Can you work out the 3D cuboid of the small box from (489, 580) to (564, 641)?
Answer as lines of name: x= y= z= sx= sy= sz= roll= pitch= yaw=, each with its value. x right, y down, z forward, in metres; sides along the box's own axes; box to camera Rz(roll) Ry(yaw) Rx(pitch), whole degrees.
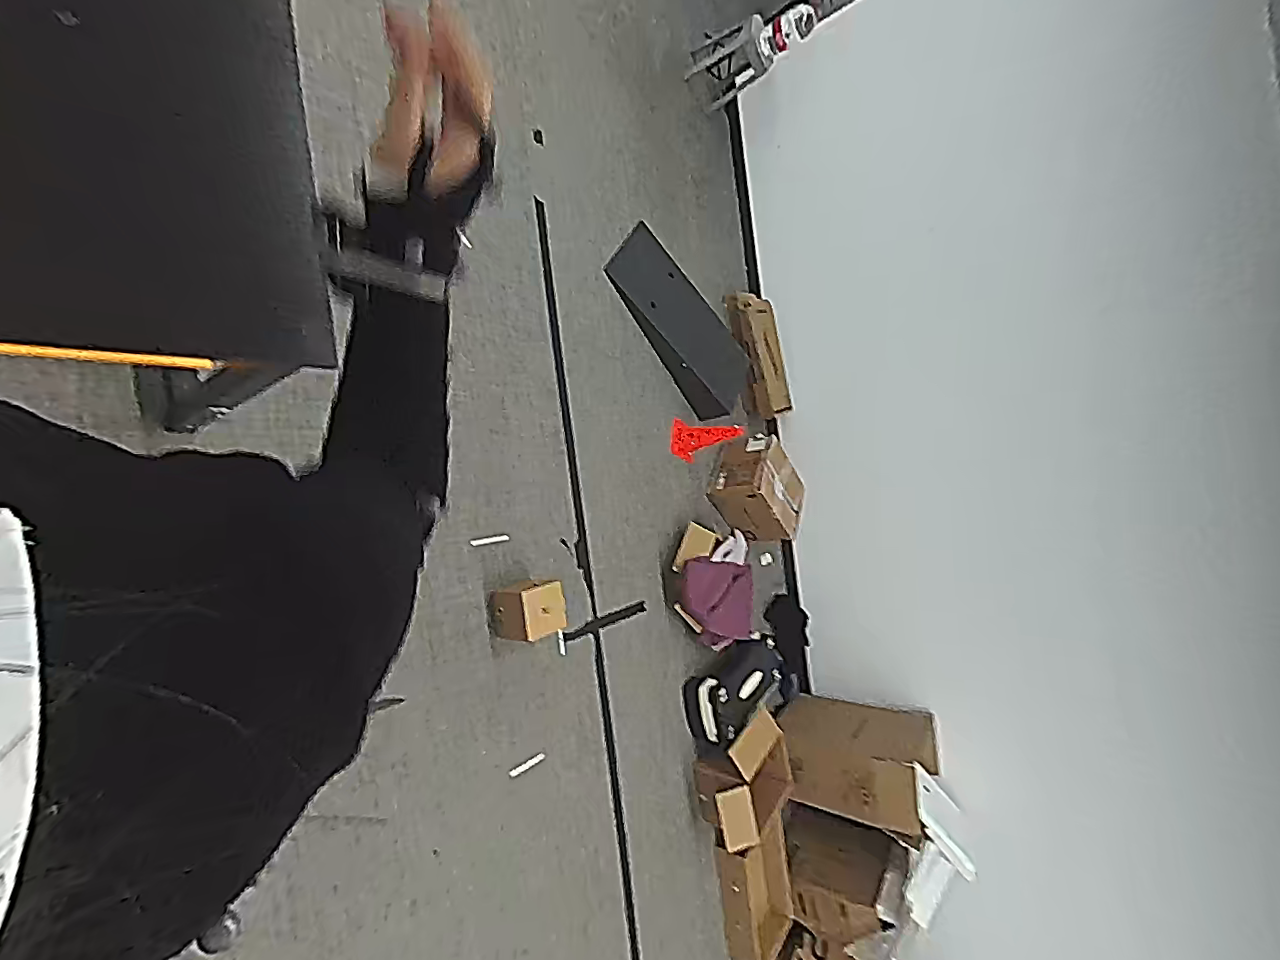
small box: x=-0.390 y=0.442 z=1.855 sx=0.179 sy=0.176 sz=0.168 roll=-9 pitch=90 yaw=-51
